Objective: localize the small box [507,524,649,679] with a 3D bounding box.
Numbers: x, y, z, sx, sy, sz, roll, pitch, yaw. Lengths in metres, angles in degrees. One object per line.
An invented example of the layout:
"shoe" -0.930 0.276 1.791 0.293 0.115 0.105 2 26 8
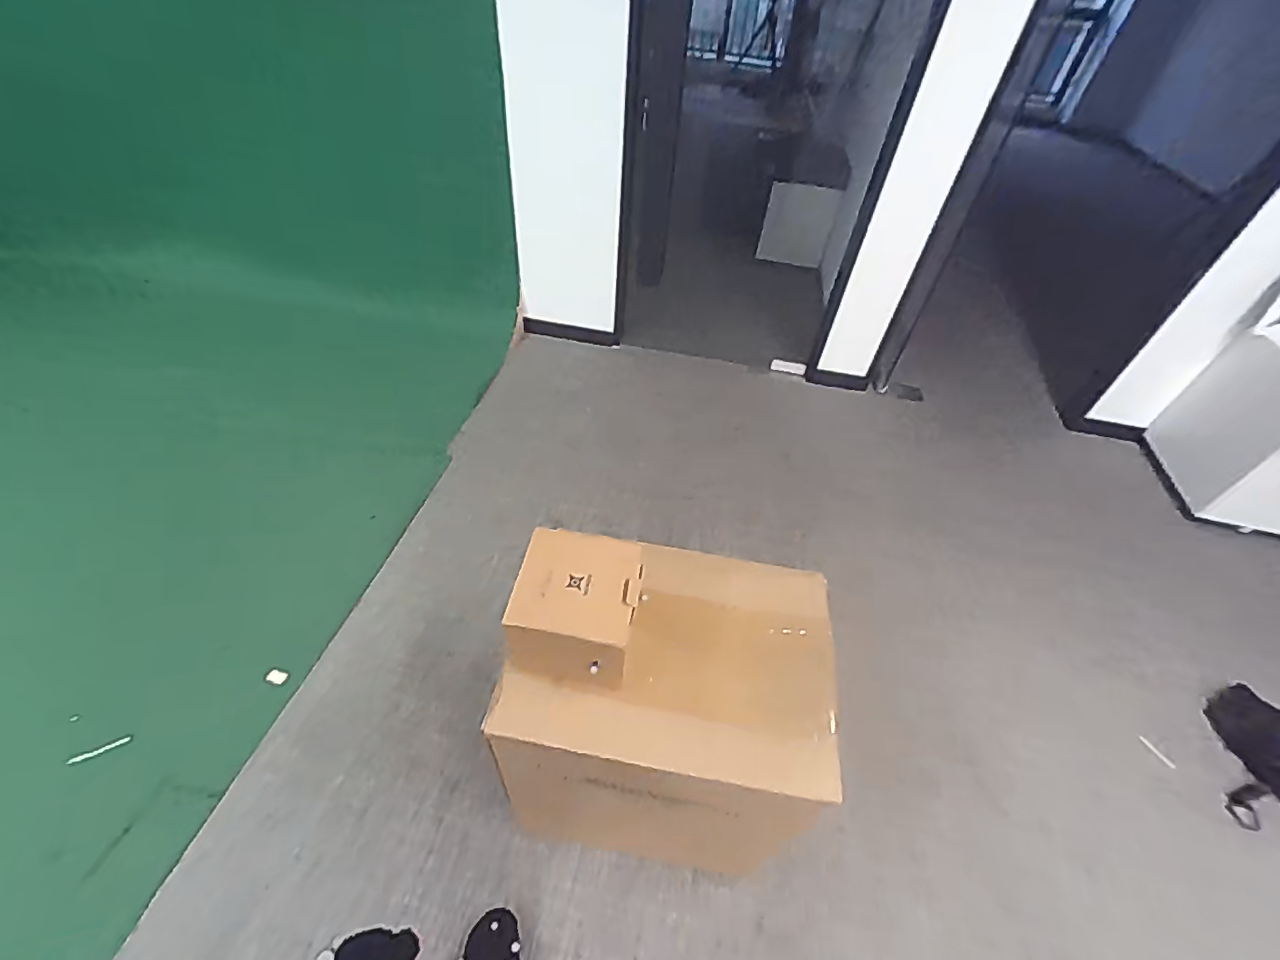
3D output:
"small box" -0.089 0.195 0.844 0.179 0.176 0.168 8 49 4
